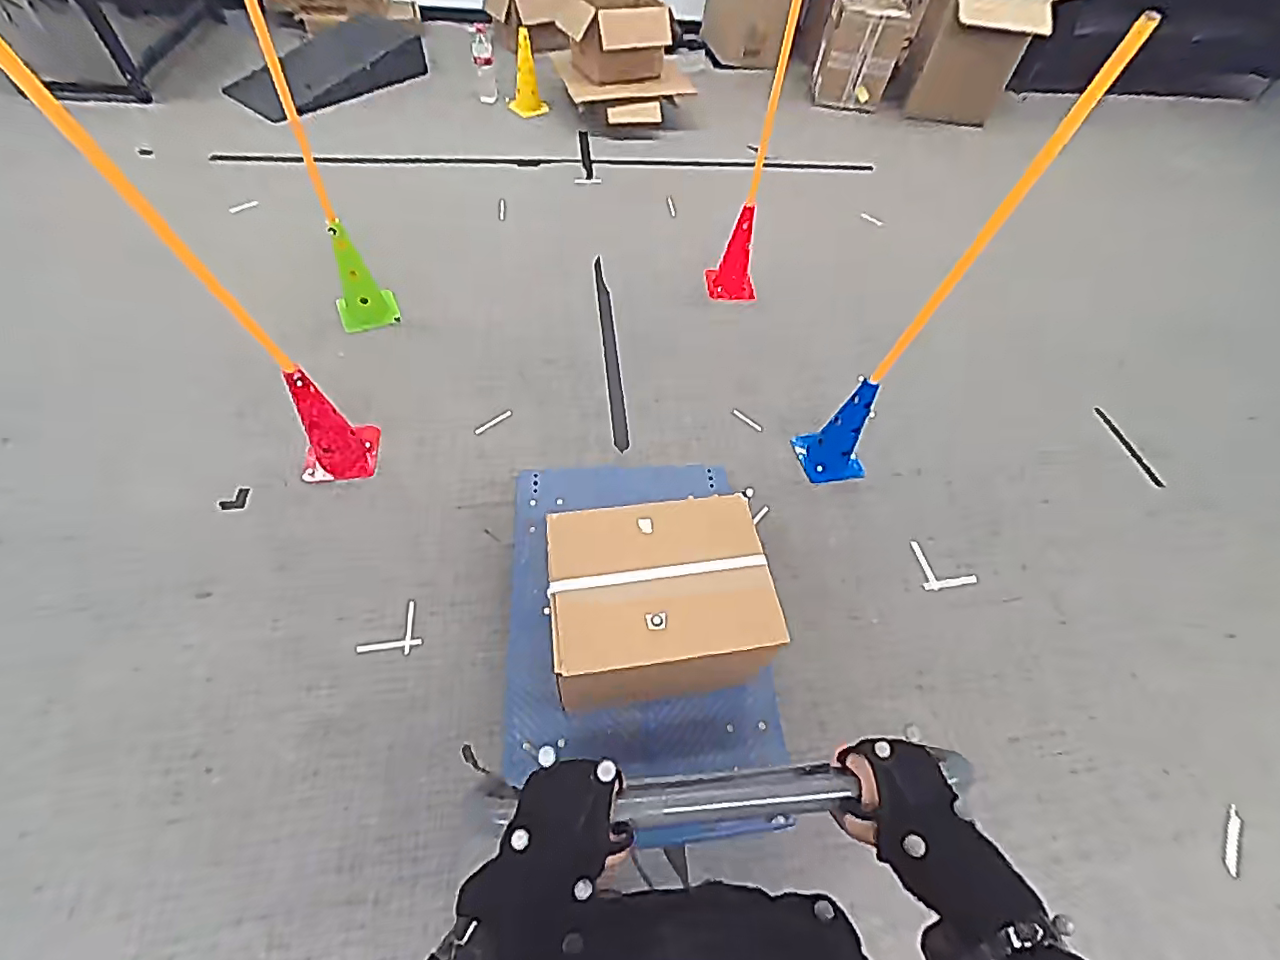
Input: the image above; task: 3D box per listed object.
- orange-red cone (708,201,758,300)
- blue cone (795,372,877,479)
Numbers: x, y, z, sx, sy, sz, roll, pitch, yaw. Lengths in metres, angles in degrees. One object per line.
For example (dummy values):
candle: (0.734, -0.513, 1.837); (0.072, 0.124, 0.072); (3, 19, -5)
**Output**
orange-red cone: (0.404, -0.924, 2.145); (0.199, 0.360, 0.198); (3, 56, -5)
blue cone: (0.645, -0.179, 1.679); (0.193, 0.380, 0.192); (-7, 56, -11)
